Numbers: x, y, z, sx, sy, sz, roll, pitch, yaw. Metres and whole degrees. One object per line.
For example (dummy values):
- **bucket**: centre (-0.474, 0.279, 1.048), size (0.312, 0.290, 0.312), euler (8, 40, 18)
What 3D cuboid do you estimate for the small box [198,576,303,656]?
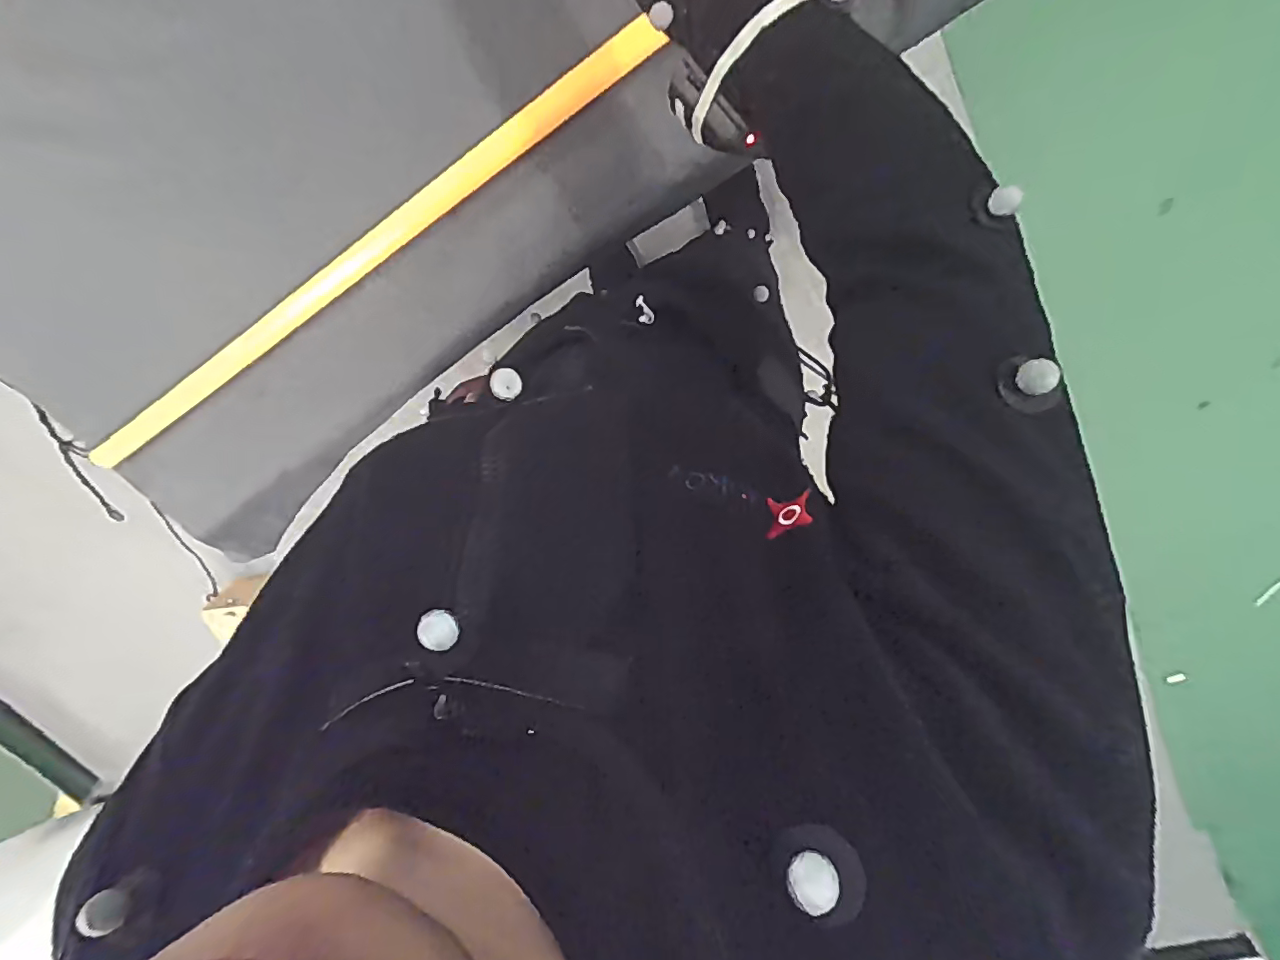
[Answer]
- **small box**: centre (-1.211, 0.425, 1.699), size (0.168, 0.176, 0.179), euler (-8, 117, 9)
